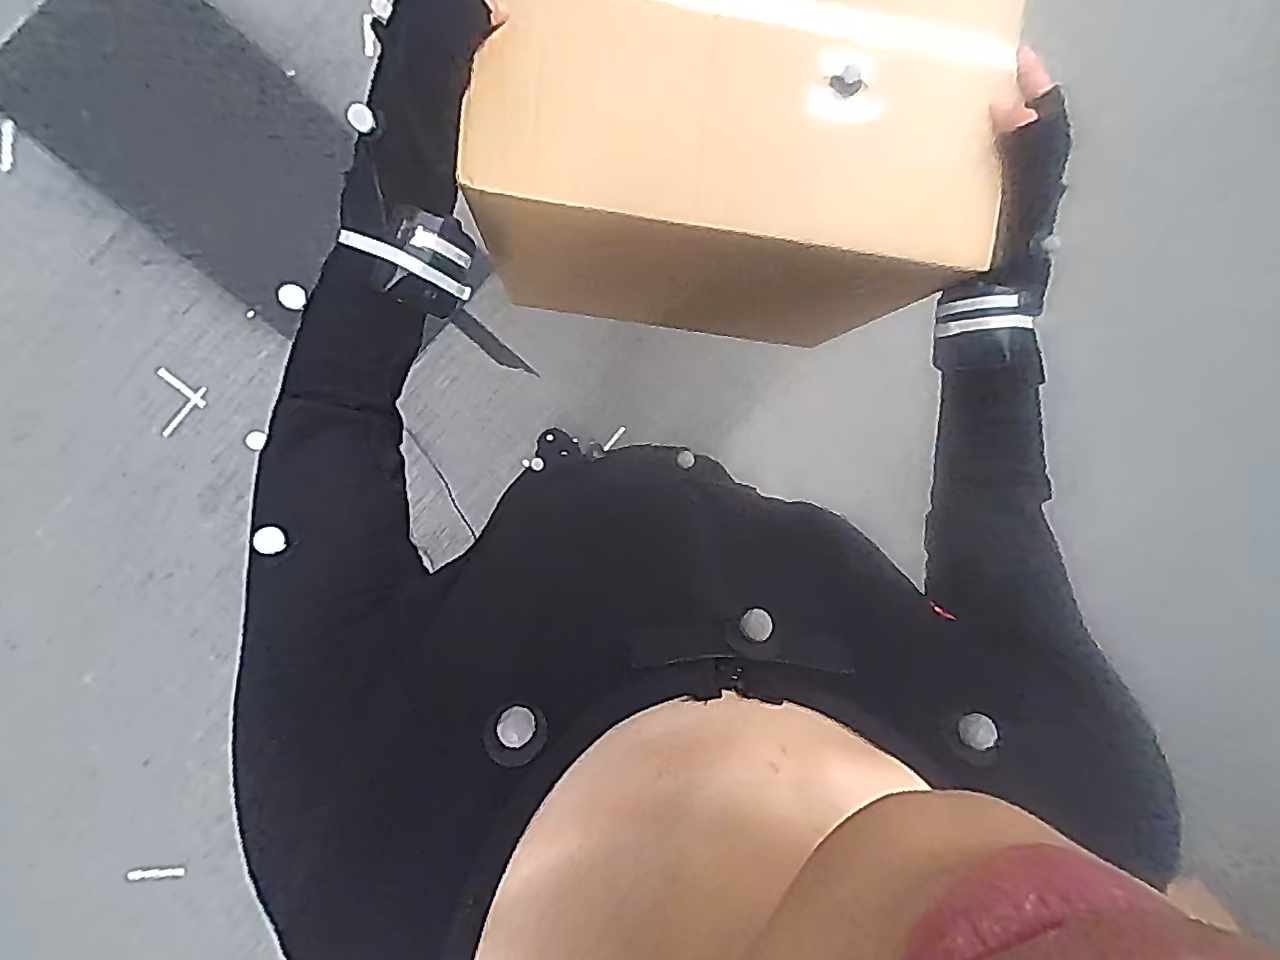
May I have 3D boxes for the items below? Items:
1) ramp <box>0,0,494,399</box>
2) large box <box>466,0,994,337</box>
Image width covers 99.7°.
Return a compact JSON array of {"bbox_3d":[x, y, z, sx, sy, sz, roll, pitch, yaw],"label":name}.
[{"bbox_3d":[-0.895,-0.705,1.306,0.991,0.206,0.509,39,87,-5],"label":"ramp"},{"bbox_3d":[0.060,-0.352,0.555,0.408,0.320,0.320,5,92,-7],"label":"large box"}]
